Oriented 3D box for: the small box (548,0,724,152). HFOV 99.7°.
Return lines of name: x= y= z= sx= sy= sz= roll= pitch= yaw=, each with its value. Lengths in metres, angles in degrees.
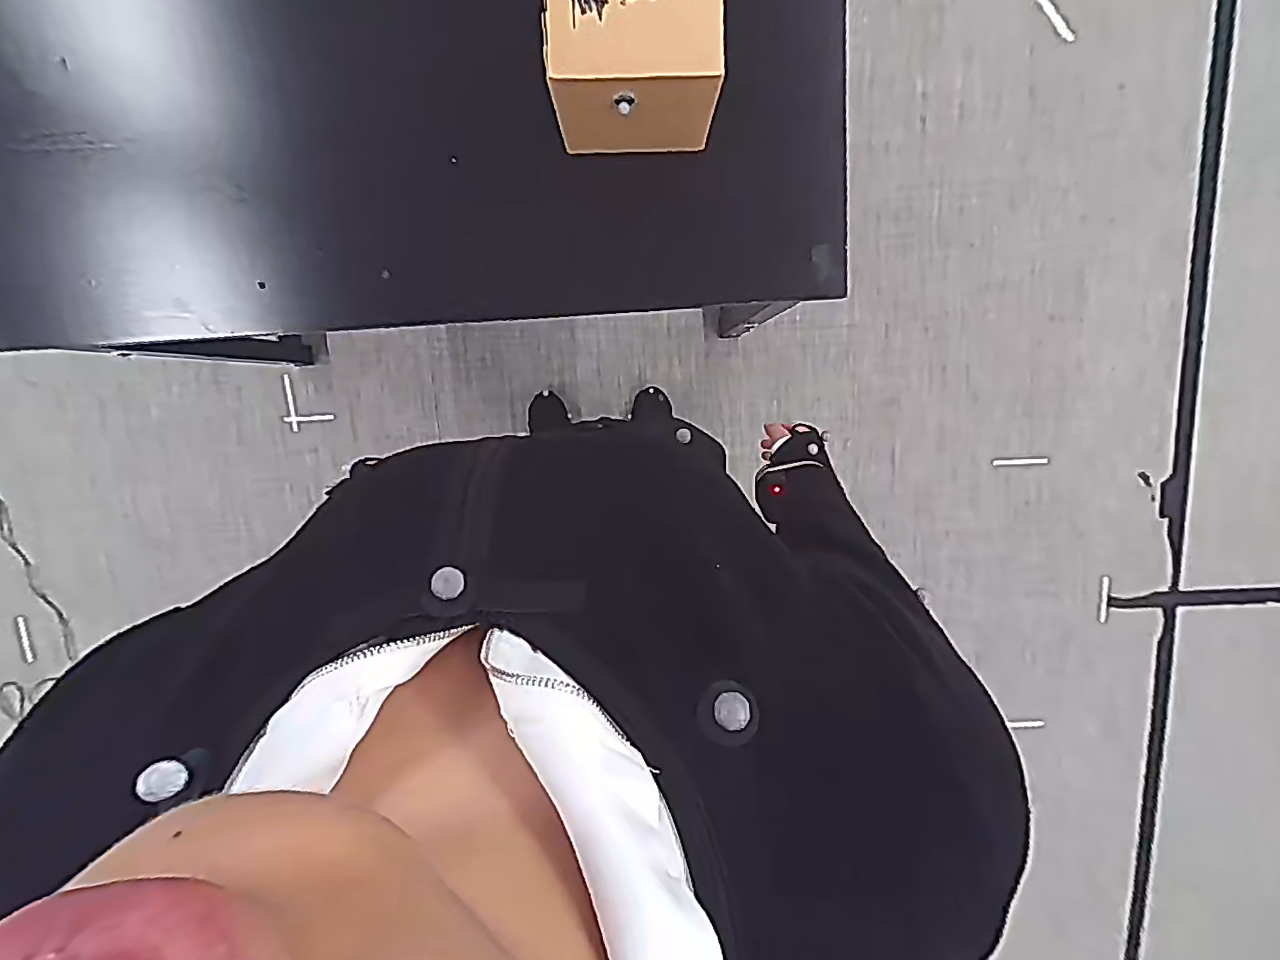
small box: x=-0.004 y=-0.492 z=0.608 sx=0.179 sy=0.176 sz=0.168 roll=-1 pitch=99 yaw=-1
